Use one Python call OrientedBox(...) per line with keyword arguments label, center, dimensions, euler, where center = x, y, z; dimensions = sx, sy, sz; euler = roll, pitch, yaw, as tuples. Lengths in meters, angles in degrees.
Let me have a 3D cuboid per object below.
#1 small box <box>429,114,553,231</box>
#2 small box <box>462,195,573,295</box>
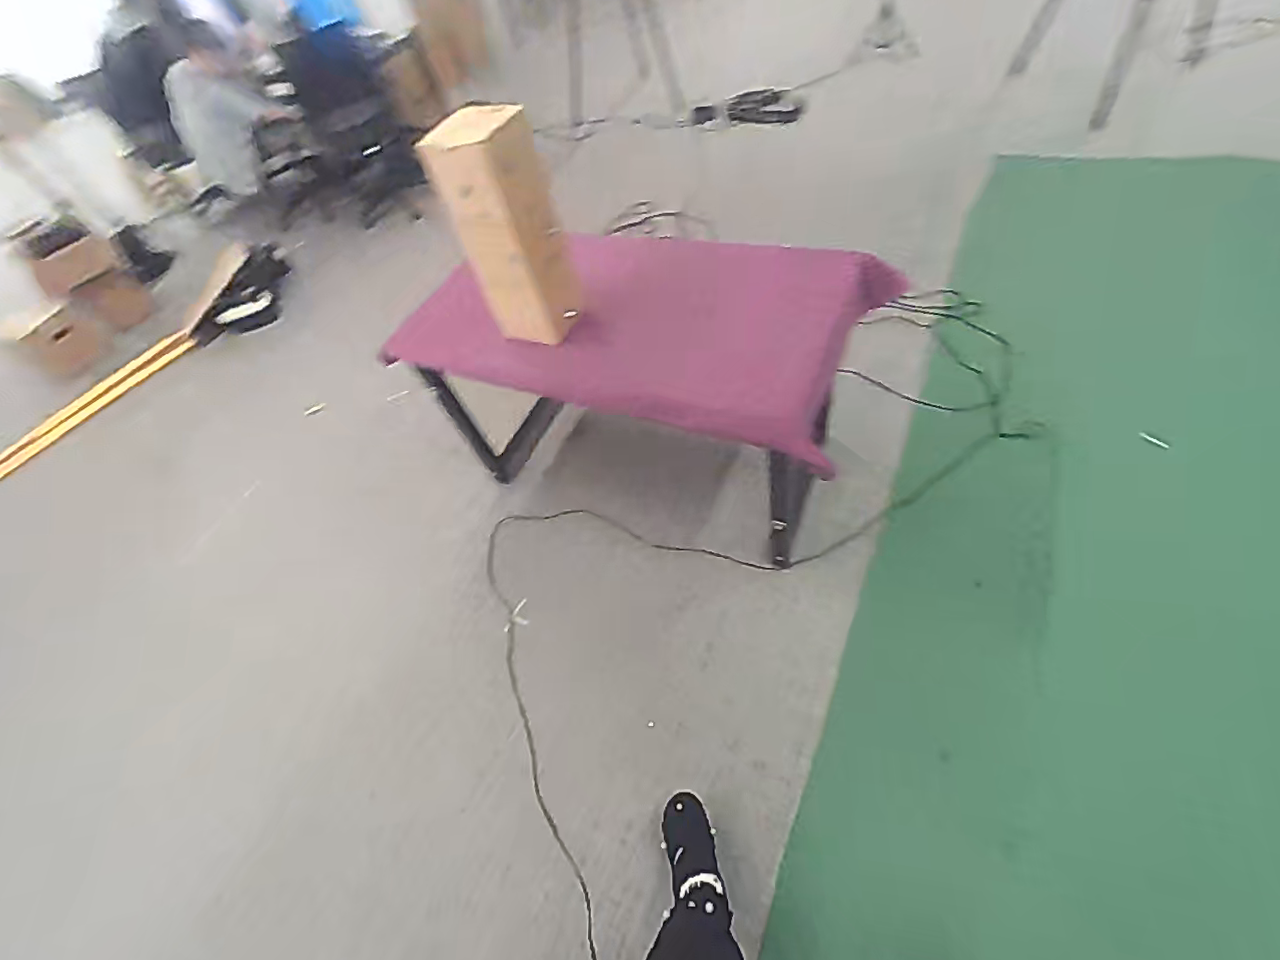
OrientedBox(label="small box", center=(-0.315, -0.672, 1.187), dimensions=(0.168, 0.176, 0.179), euler=(15, 59, 22))
OrientedBox(label="small box", center=(-0.286, -0.570, 1.312), dimensions=(0.179, 0.176, 0.168), euler=(15, 59, 24))
